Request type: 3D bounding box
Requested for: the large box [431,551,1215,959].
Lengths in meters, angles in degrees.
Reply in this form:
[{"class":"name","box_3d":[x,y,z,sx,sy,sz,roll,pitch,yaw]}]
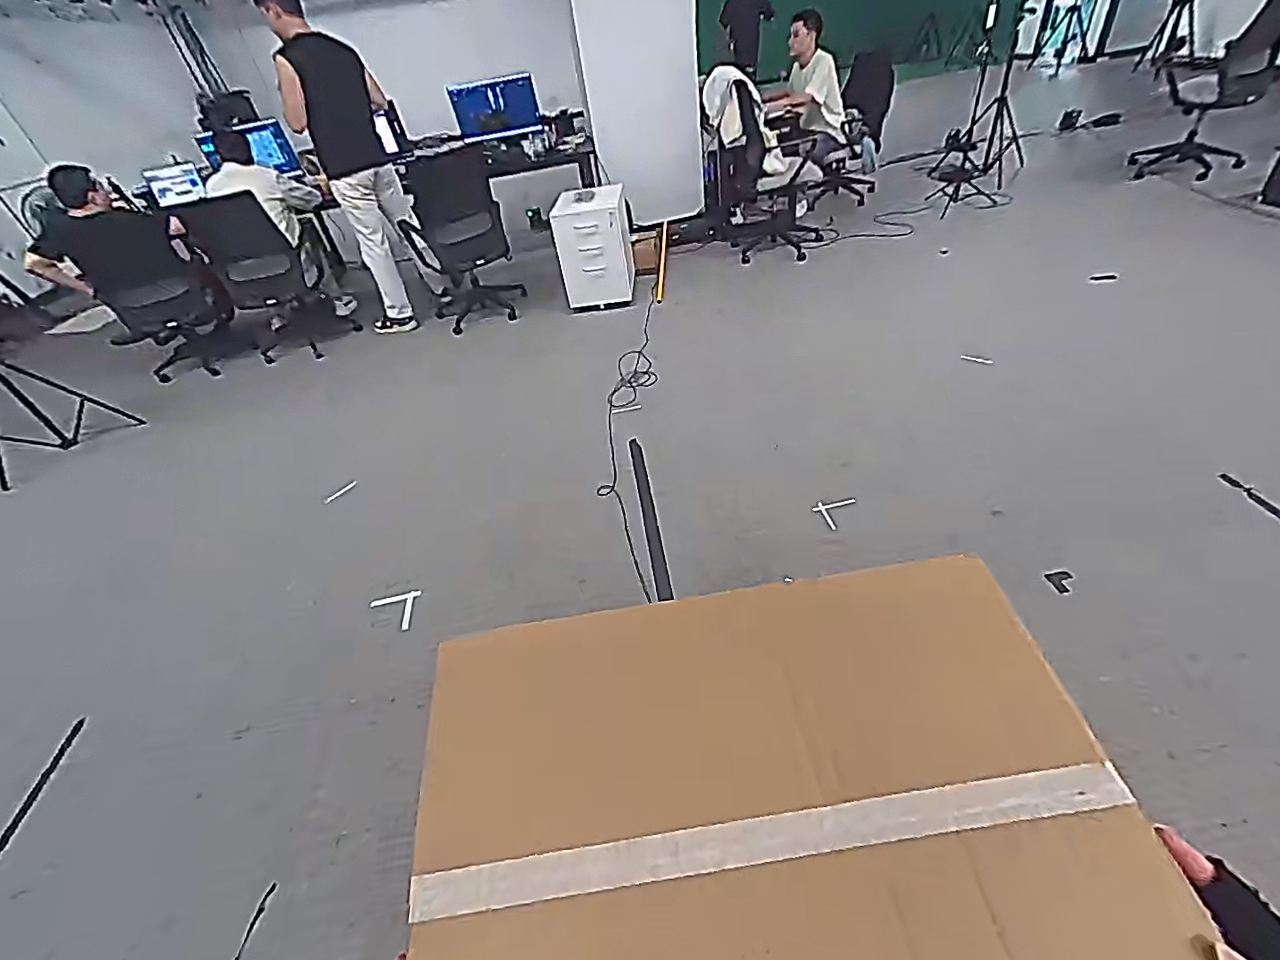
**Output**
[{"class":"large box","box_3d":[0.090,0.298,0.435,0.408,0.320,0.320,-10,51,0]}]
